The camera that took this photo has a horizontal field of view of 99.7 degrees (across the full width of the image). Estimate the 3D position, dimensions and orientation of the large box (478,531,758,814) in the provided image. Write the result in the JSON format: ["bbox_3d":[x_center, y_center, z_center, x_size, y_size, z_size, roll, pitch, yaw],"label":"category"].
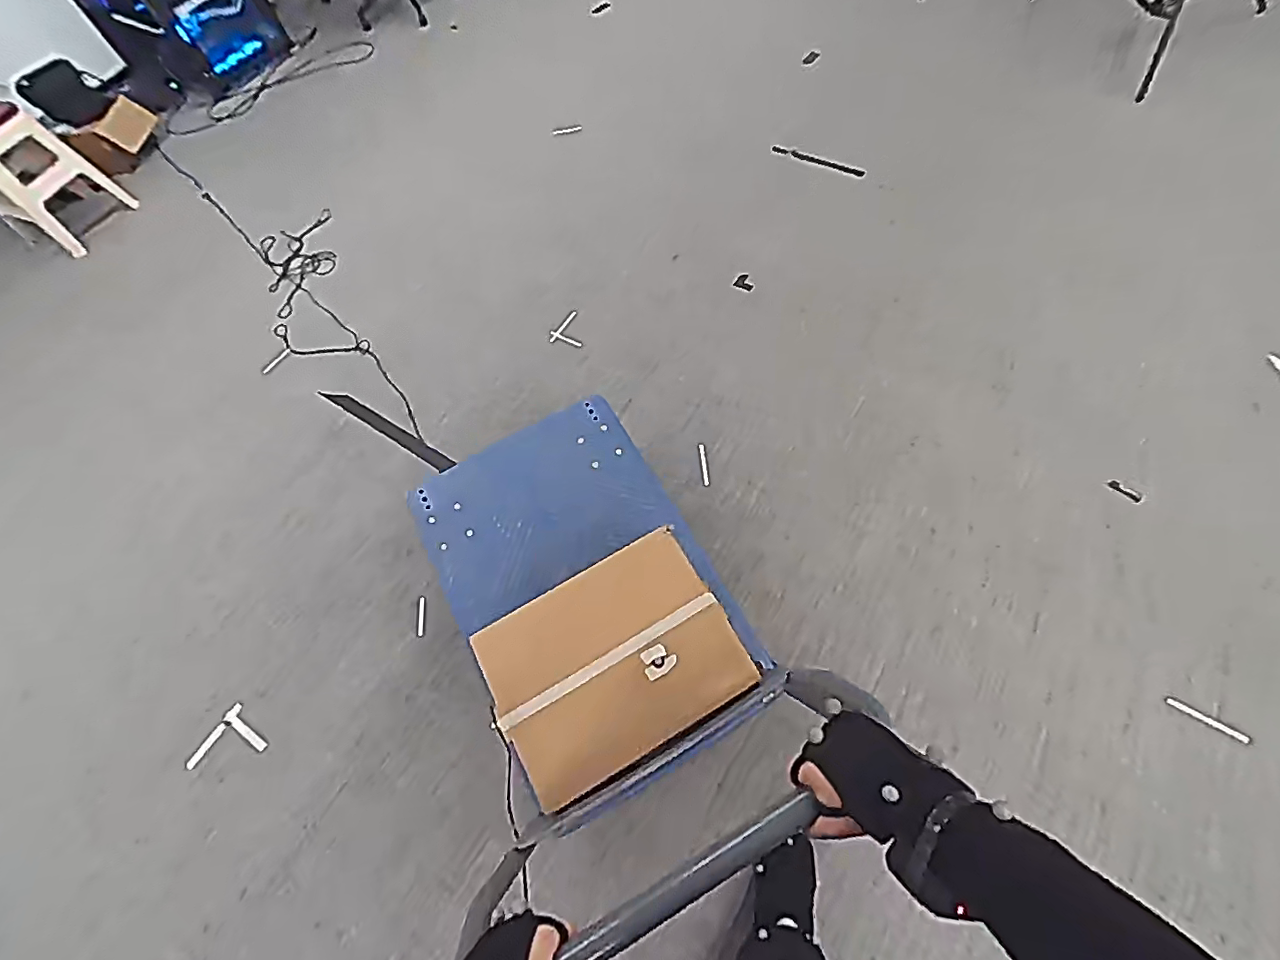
[{"bbox_3d":[-0.037,0.370,1.067,0.408,0.320,0.320,-30,70,-9],"label":"large box"}]
